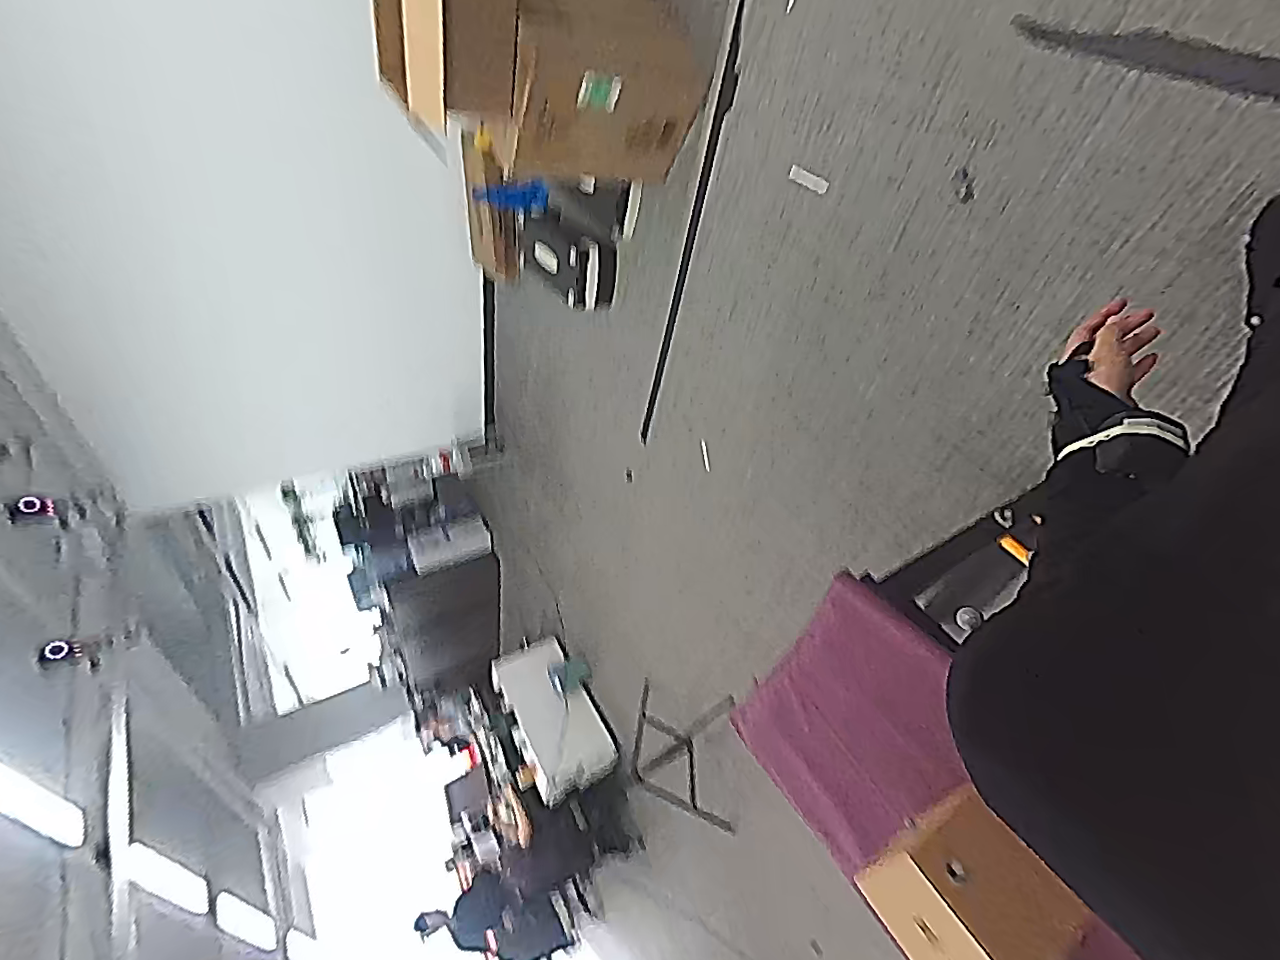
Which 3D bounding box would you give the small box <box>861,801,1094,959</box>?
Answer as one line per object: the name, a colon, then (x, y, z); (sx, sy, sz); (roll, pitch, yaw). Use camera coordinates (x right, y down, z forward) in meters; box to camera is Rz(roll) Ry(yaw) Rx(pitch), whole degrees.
small box: (0.454, 0.578, 0.742); (0.179, 0.176, 0.168); (49, 145, 35)
